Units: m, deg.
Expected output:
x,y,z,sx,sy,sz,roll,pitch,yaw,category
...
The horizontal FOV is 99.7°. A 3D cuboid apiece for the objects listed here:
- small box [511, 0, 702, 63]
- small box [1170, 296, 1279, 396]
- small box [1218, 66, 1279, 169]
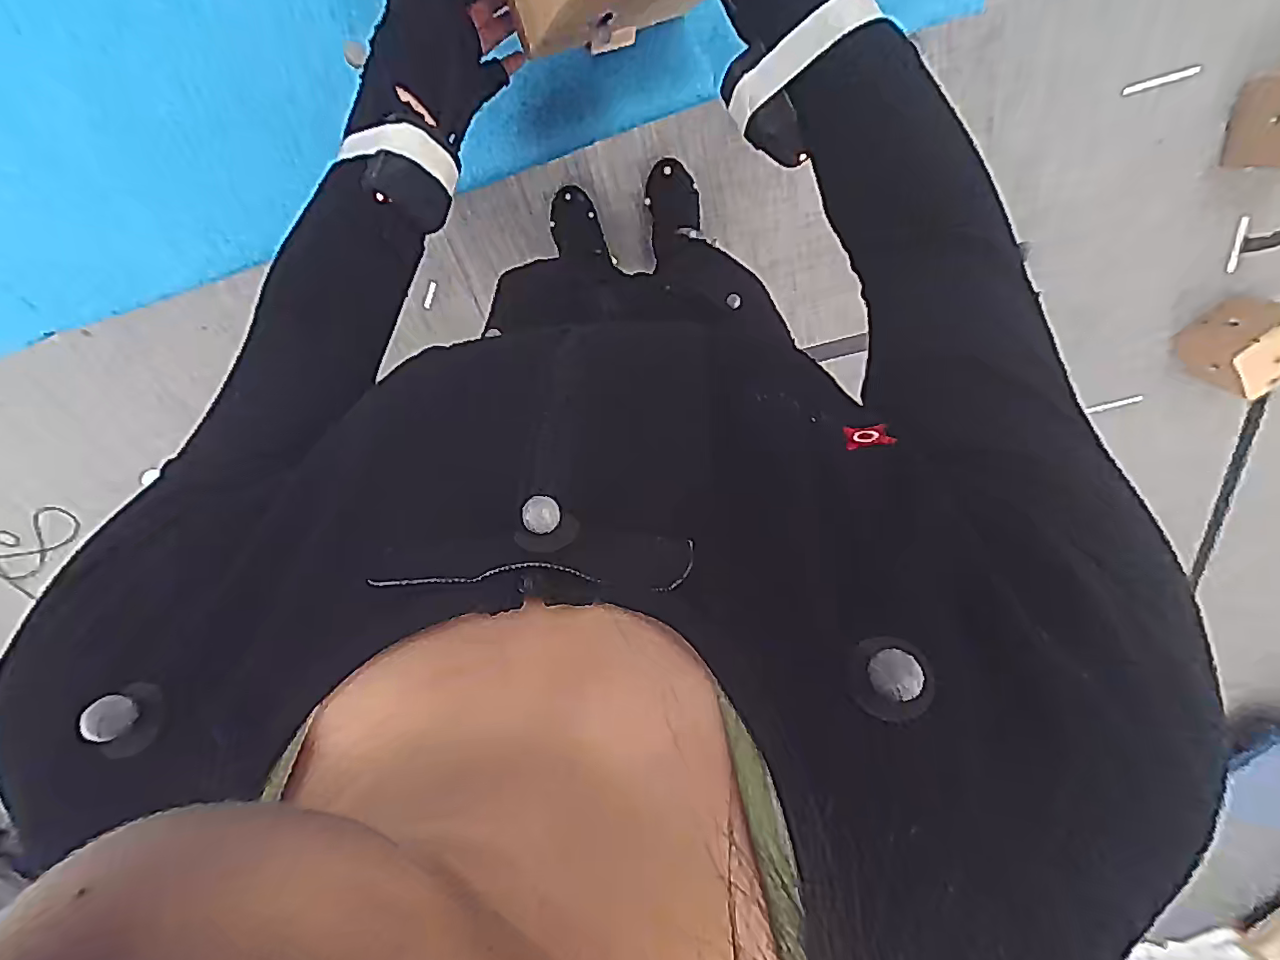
x,y,z,sx,sy,sz,roll,pitch,yaw,category
-0.021,-0.446,0.382,0.168,0.176,0.179,-28,120,-13,small box
1.558,-0.358,1.415,0.179,0.176,0.168,39,114,-24,small box
1.398,-0.777,1.141,0.168,0.176,0.179,-13,121,4,small box
